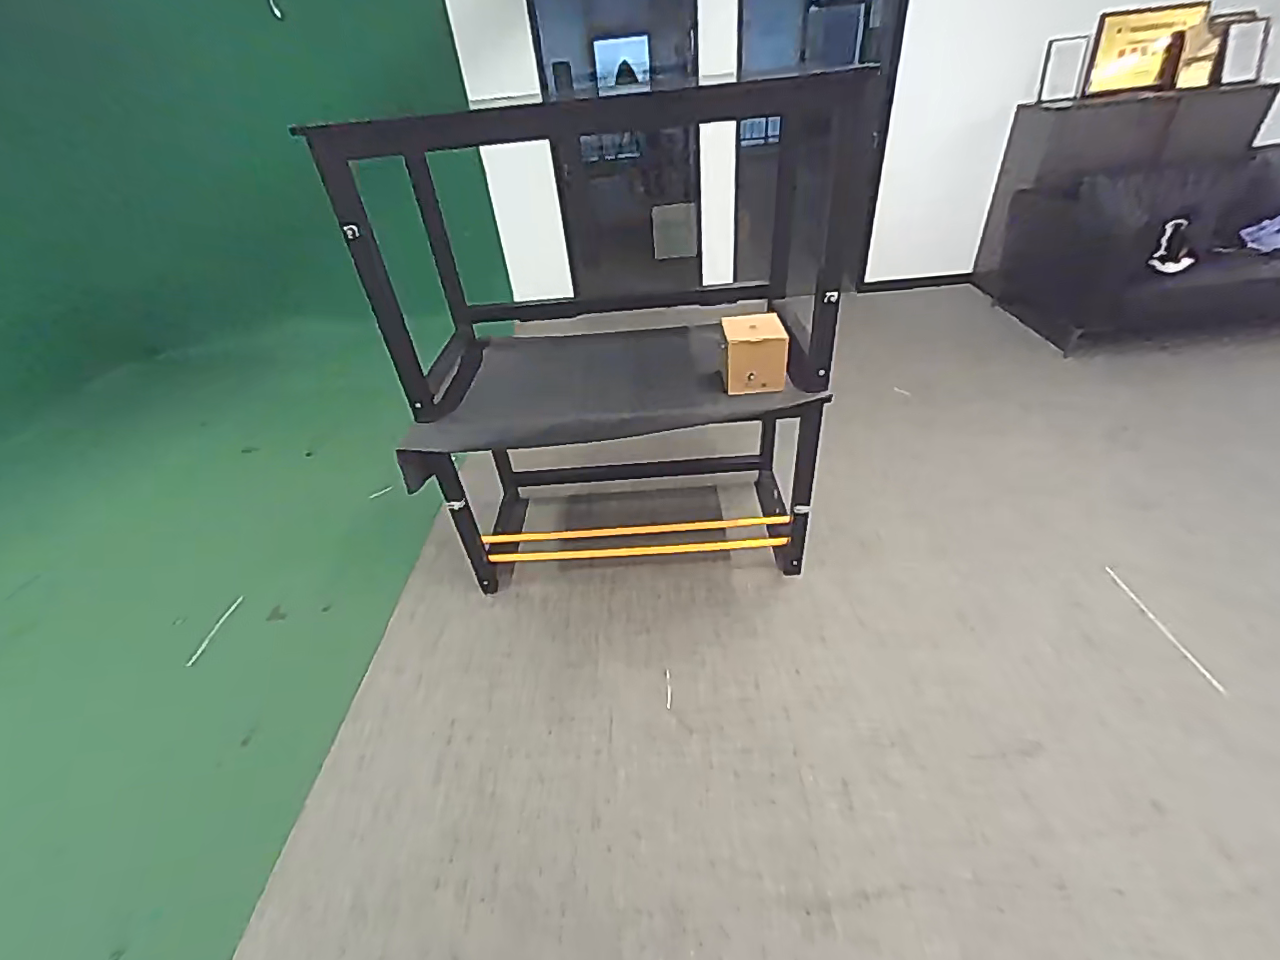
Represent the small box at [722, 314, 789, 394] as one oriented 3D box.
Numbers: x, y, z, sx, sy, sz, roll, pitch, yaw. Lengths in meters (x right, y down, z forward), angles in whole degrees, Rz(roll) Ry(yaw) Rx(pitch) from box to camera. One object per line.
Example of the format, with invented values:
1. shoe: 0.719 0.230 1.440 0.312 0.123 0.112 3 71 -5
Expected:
1. small box: 0.328 -0.367 1.573 0.168 0.176 0.179 -5 37 3
